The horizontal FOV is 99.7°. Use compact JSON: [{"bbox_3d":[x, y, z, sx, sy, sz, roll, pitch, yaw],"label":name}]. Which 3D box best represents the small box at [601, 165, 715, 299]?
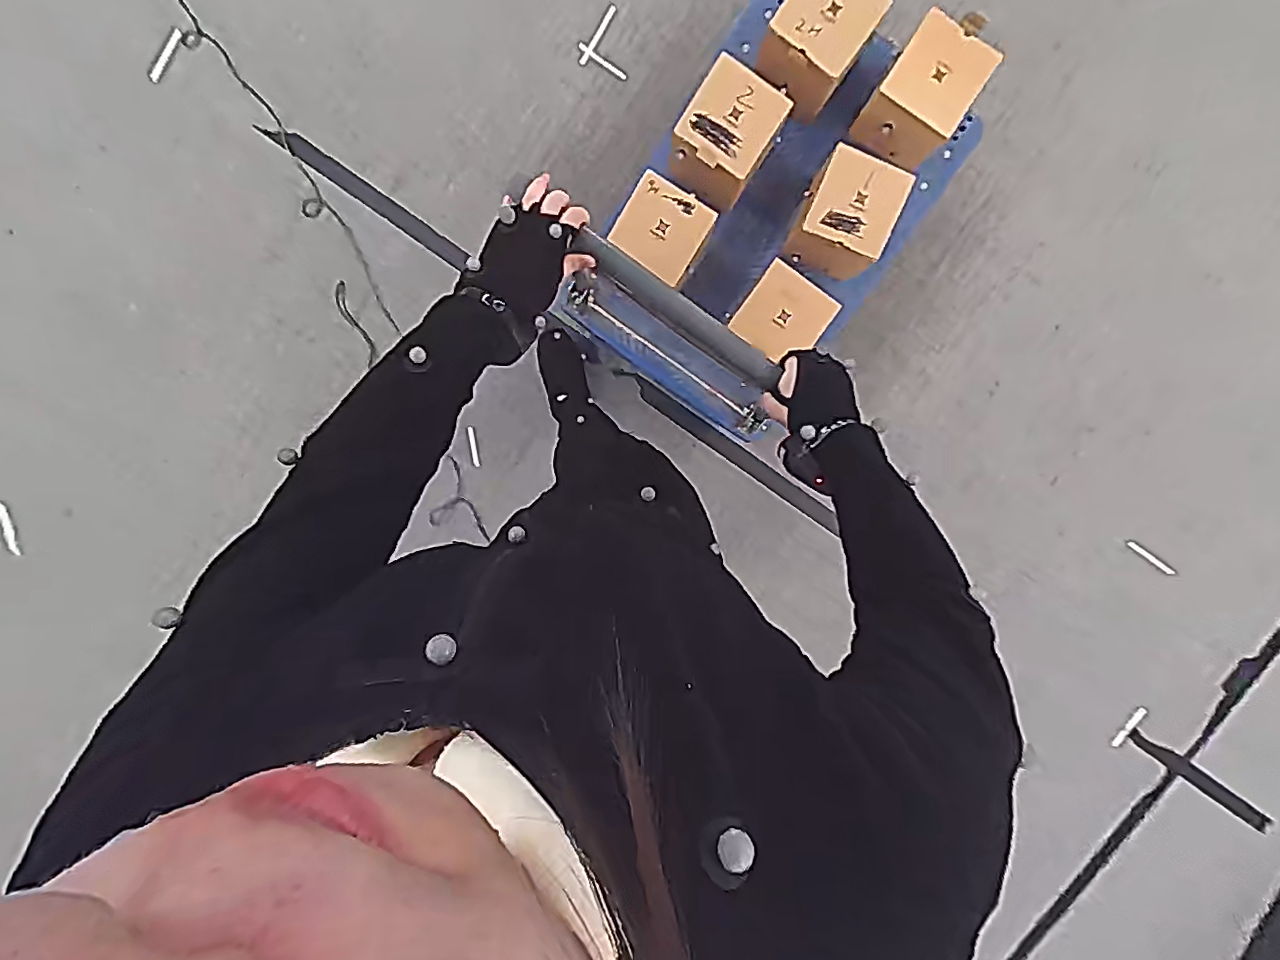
[{"bbox_3d":[0.038,-0.508,1.142,0.168,0.176,0.179,32,97,-4],"label":"small box"}]

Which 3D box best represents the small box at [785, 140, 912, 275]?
[{"bbox_3d":[0.423,-0.557,1.134,0.168,0.176,0.179,23,96,-3],"label":"small box"}]

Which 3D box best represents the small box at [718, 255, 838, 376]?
[{"bbox_3d":[0.284,-0.341,1.162,0.168,0.176,0.179,36,95,-4],"label":"small box"}]

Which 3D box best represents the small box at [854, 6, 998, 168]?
[{"bbox_3d":[0.567,-0.786,1.106,0.168,0.176,0.179,32,96,-3],"label":"small box"}]

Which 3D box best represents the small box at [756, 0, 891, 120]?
[{"bbox_3d":[0.356,-0.889,1.092,0.168,0.176,0.179,37,97,-4],"label":"small box"}]
